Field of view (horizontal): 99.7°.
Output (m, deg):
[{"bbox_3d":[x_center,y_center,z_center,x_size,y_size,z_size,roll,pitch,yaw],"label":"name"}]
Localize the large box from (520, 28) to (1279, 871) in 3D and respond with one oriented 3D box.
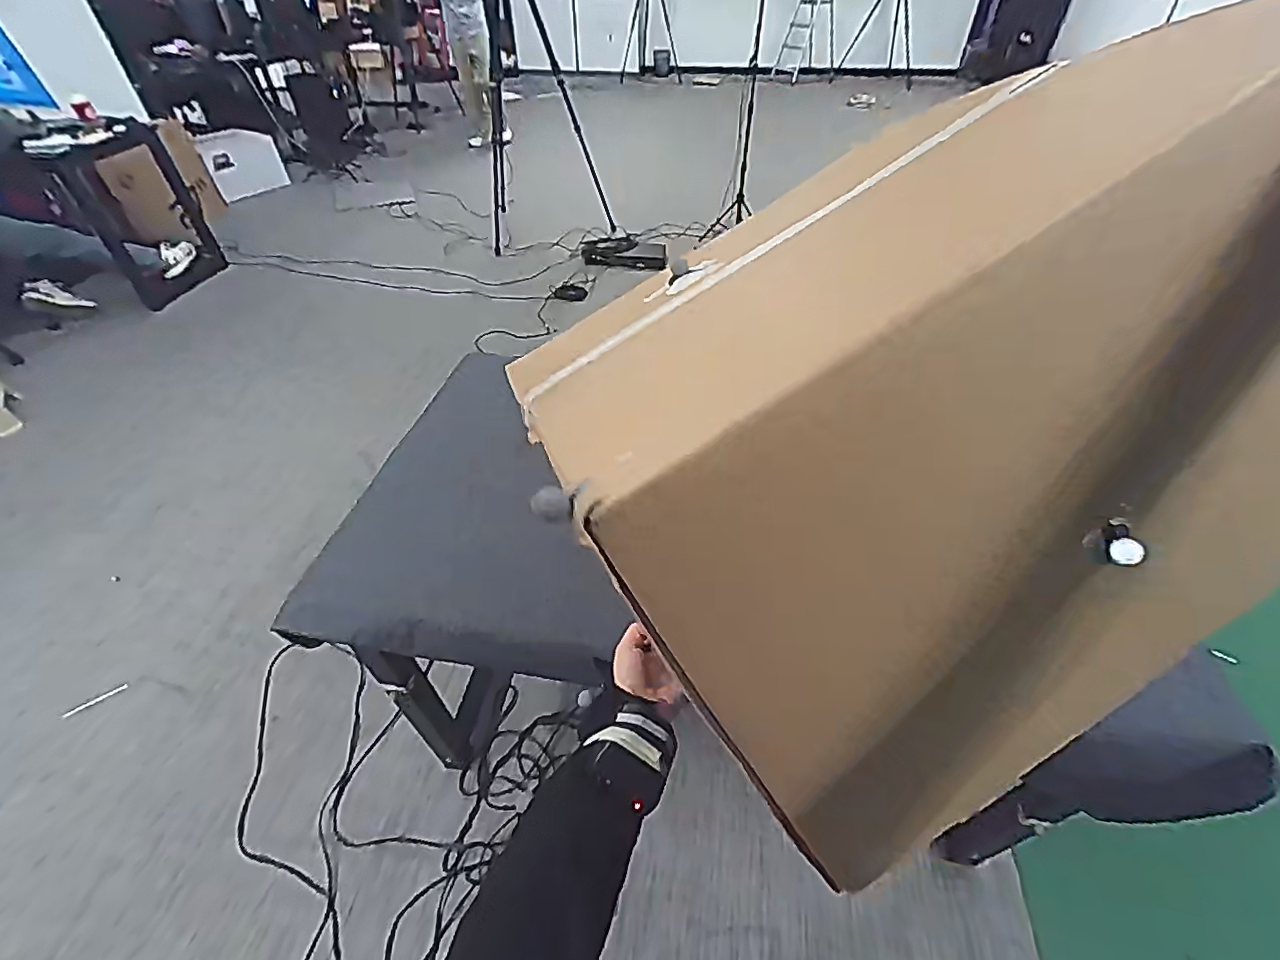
[{"bbox_3d":[0.180,-0.028,0.408,0.408,0.320,0.320,-35,27,-4],"label":"large box"}]
